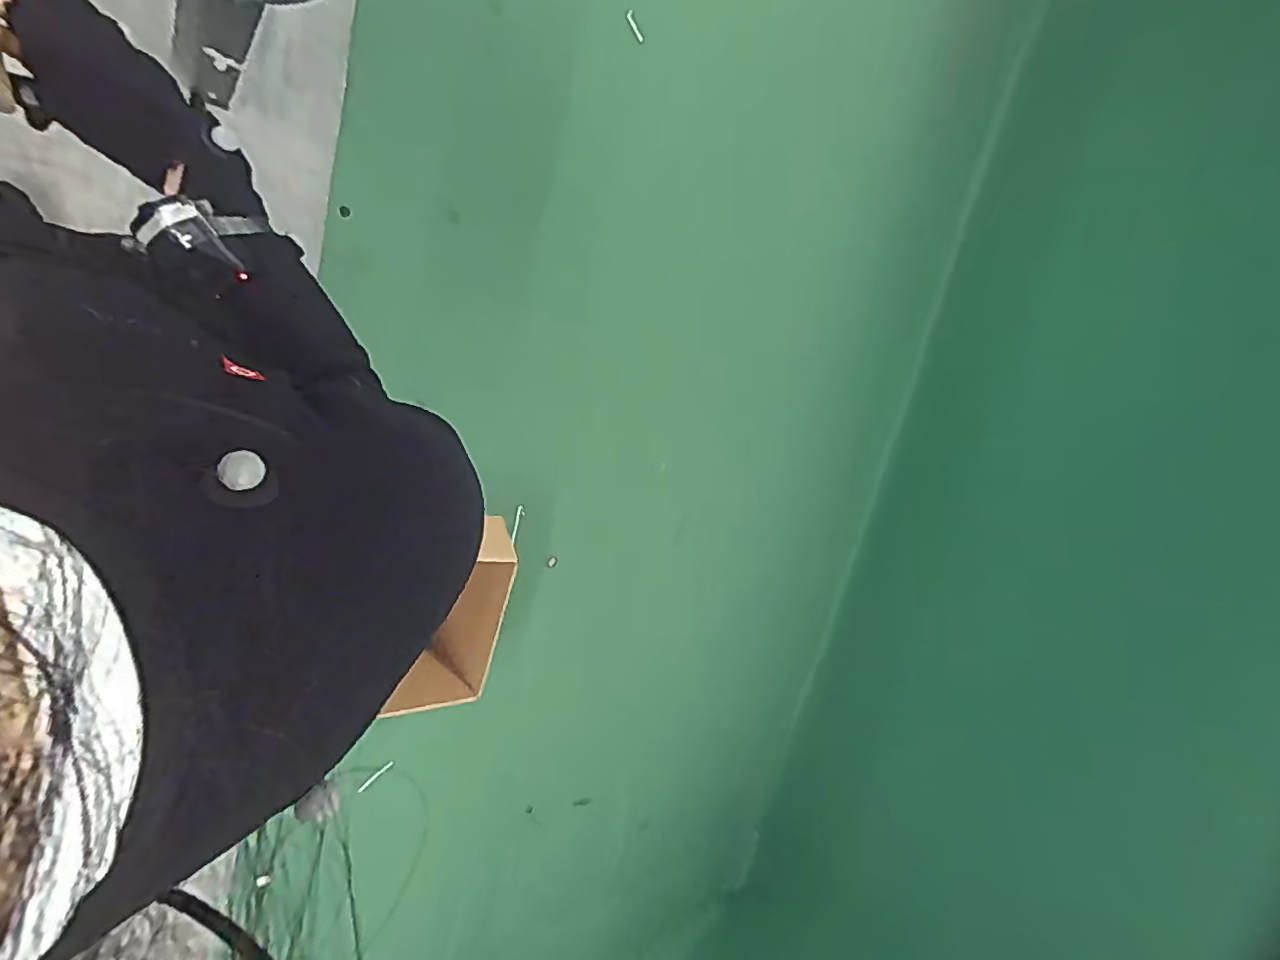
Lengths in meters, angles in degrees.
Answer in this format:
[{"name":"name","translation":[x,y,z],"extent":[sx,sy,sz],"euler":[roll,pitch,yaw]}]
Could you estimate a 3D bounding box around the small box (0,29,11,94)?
[{"name":"small box","translation":[-0.424,-0.296,0.231],"extent":[0.168,0.176,0.179],"euler":[-12,115,-40]}]
